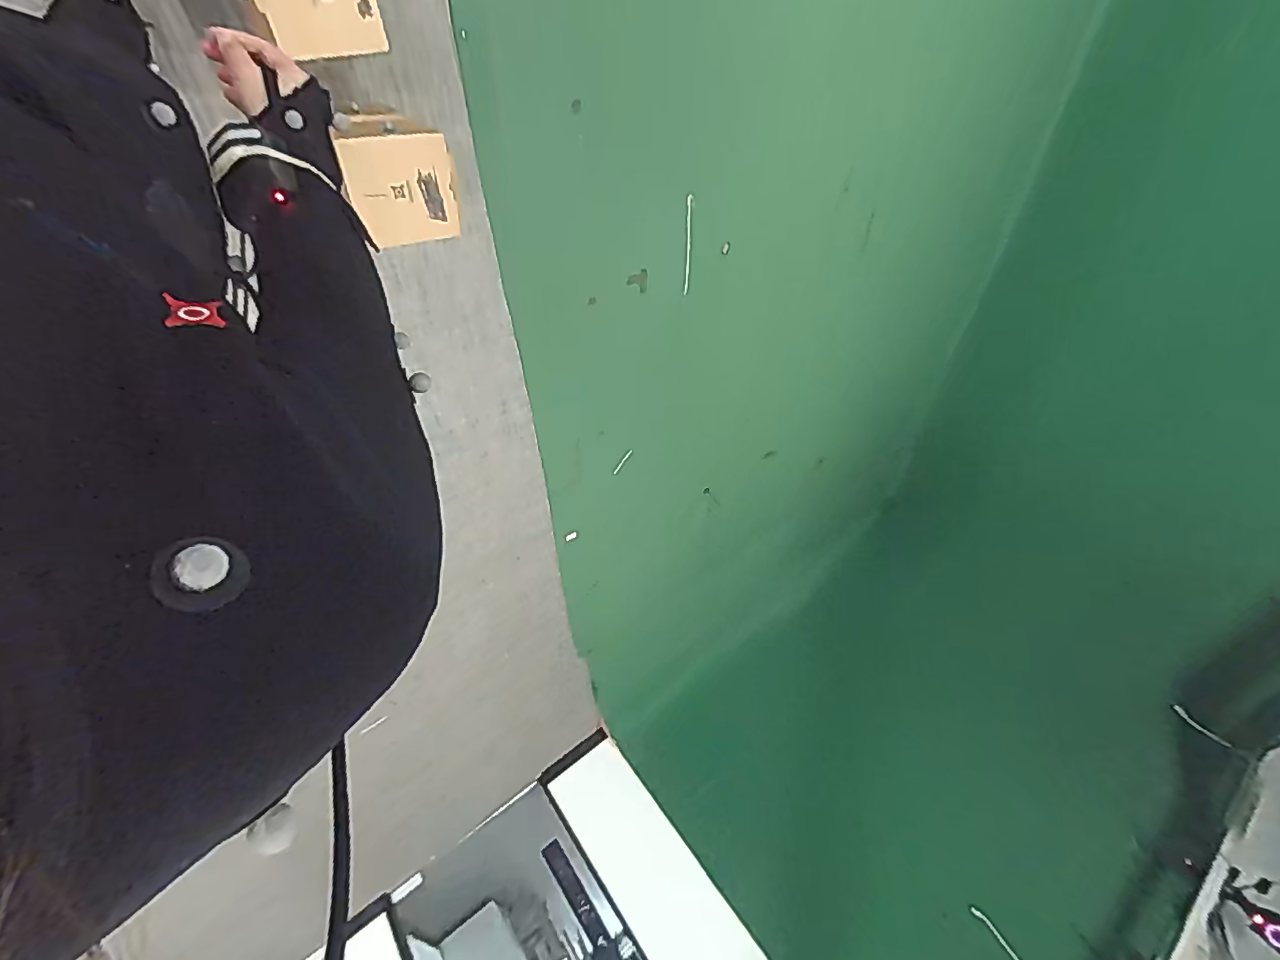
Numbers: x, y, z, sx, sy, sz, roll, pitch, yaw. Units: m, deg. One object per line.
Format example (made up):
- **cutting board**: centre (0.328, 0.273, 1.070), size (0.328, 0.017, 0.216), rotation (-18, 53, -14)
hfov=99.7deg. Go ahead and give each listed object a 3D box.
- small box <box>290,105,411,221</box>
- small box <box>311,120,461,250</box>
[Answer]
- **small box**: centre (-0.543, -0.619, 1.048), size (0.179, 0.176, 0.168), rotation (-24, 136, -28)
- **small box**: centre (-0.444, -0.526, 0.954), size (0.179, 0.176, 0.168), rotation (-25, 136, -28)
